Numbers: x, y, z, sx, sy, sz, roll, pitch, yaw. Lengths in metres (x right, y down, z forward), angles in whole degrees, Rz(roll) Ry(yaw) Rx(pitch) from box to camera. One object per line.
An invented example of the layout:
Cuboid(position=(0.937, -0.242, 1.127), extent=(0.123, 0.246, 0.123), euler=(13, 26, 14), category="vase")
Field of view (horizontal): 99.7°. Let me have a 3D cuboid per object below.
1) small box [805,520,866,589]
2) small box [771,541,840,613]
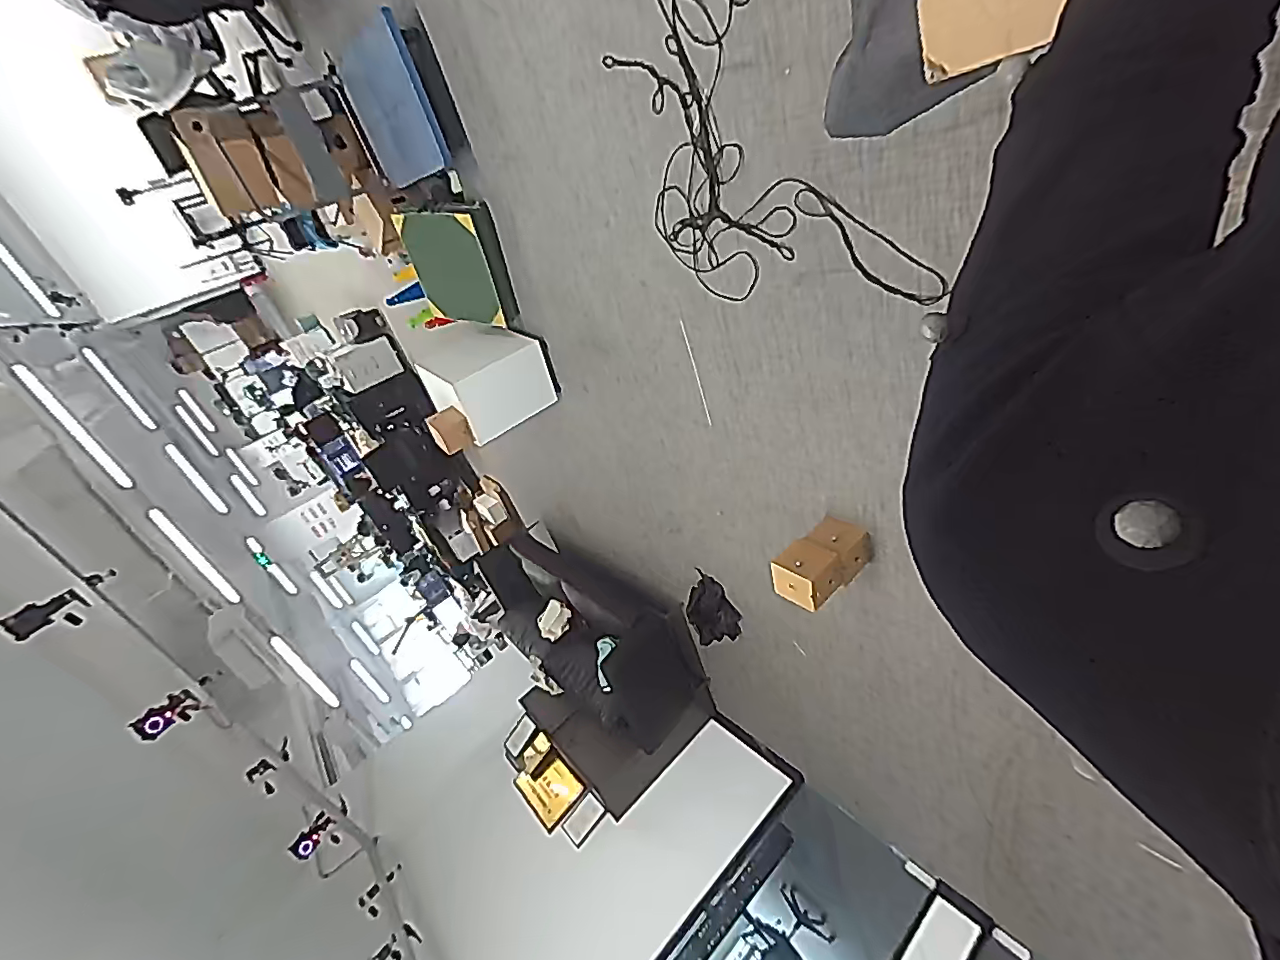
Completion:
Cuboid(position=(0.741, 0.275, 2.051), extent=(0.179, 0.176, 0.168), euler=(23, 140, 46), category="small box")
Cuboid(position=(0.610, 0.347, 1.983), extent=(0.179, 0.176, 0.168), euler=(23, 140, 46), category="small box")
